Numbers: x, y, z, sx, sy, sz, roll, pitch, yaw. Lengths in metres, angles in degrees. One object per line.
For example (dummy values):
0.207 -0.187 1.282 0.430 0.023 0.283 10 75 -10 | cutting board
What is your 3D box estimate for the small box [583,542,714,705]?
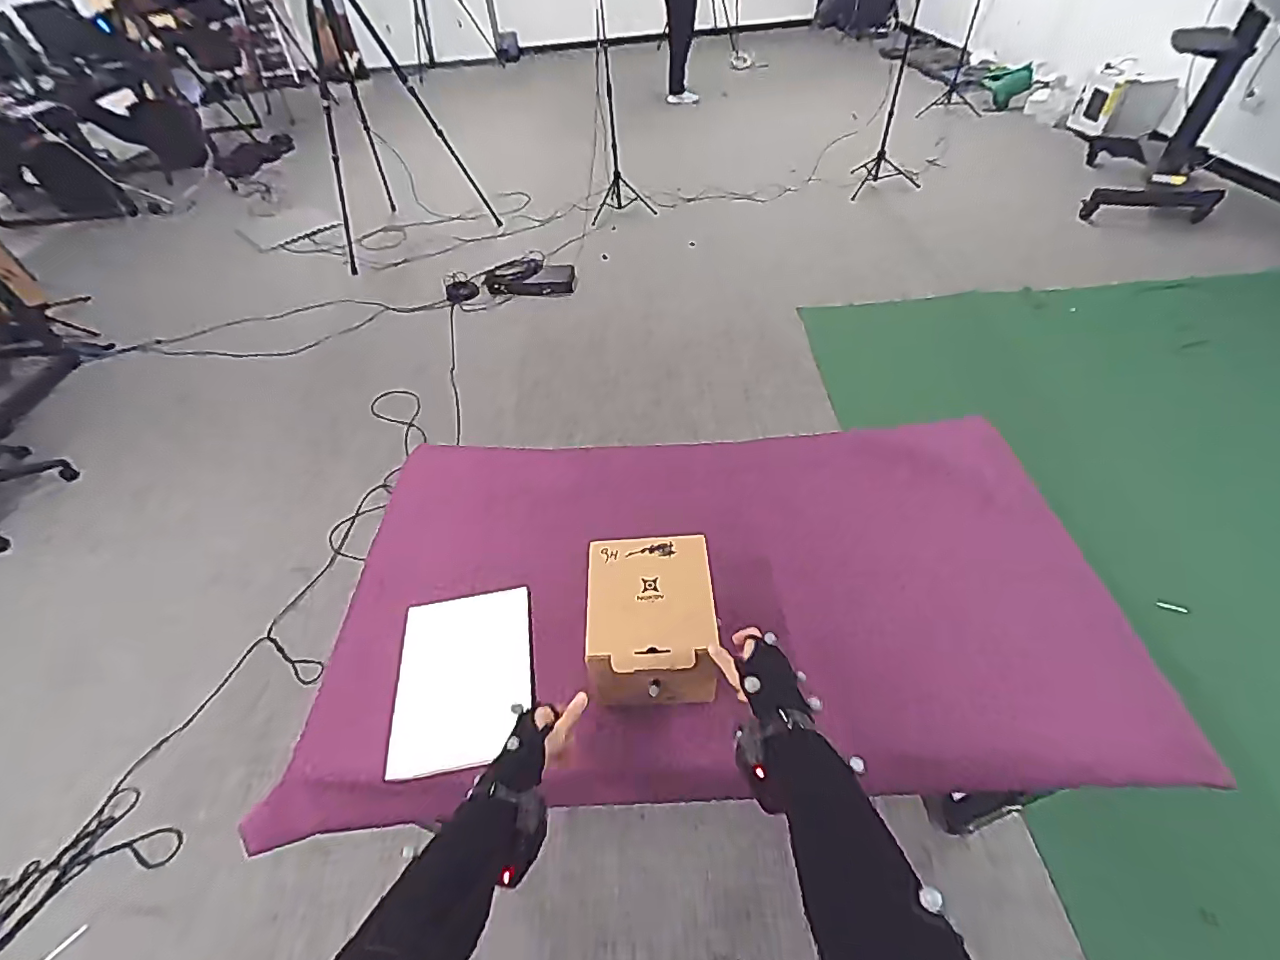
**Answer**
0.015 0.210 0.772 0.168 0.176 0.179 -3 48 2 | small box
